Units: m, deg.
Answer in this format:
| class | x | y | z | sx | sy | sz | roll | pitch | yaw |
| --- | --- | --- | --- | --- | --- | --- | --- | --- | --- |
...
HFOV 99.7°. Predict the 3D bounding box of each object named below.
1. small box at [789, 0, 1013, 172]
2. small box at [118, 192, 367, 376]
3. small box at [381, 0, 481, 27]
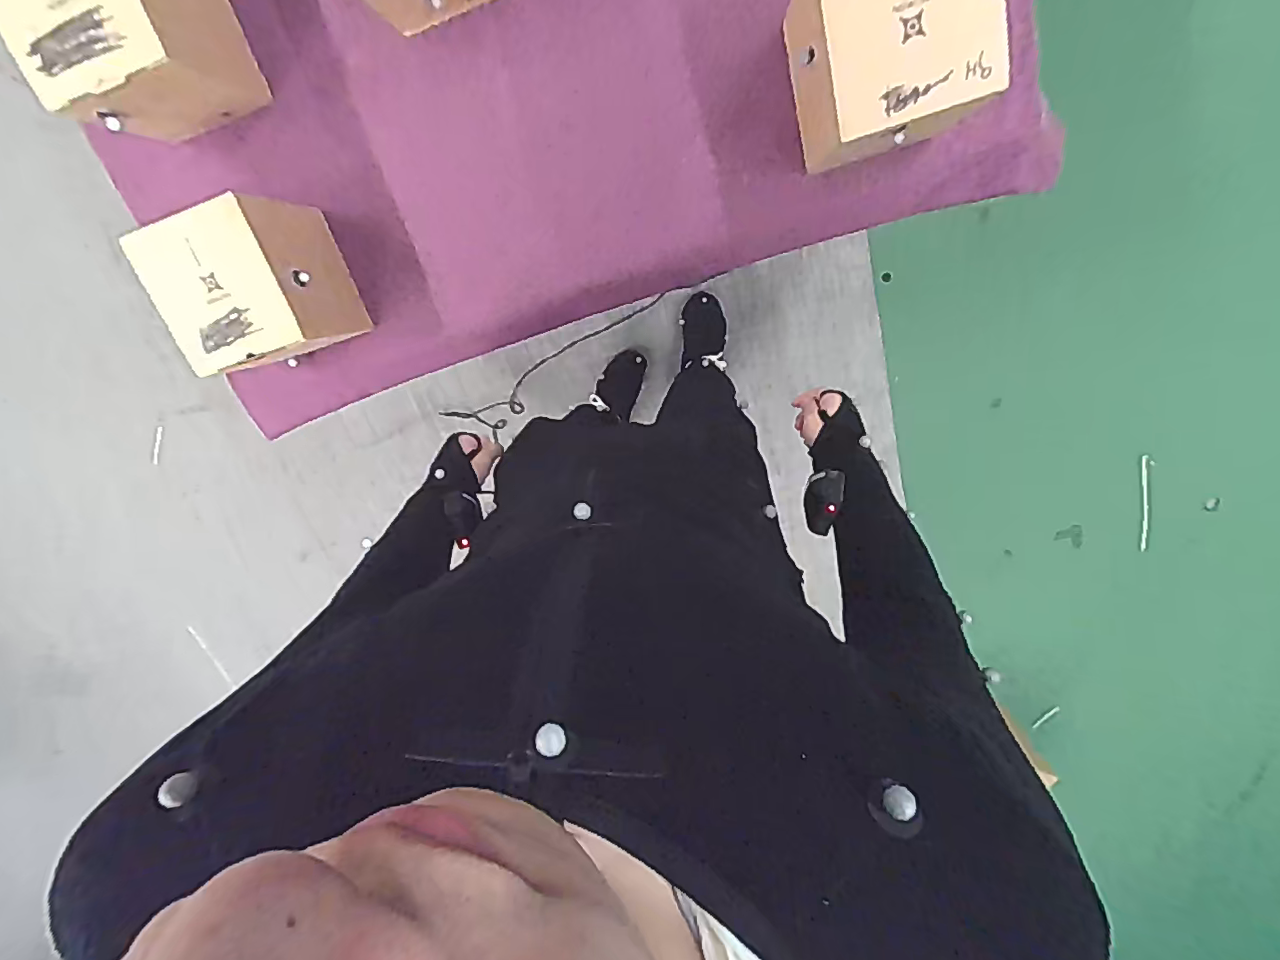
| class | x | y | z | sx | sy | sz | roll | pitch | yaw |
| --- | --- | --- | --- | --- | --- | --- | --- | --- | --- |
| small box | 0.272 | -0.473 | 0.595 | 0.168 | 0.176 | 0.179 | -14 | 107 | 10 |
| small box | -0.507 | -0.257 | 0.723 | 0.168 | 0.176 | 0.179 | -16 | 108 | 8 |
| small box | -0.249 | -0.636 | 0.568 | 0.168 | 0.176 | 0.179 | -16 | 110 | 9 |
